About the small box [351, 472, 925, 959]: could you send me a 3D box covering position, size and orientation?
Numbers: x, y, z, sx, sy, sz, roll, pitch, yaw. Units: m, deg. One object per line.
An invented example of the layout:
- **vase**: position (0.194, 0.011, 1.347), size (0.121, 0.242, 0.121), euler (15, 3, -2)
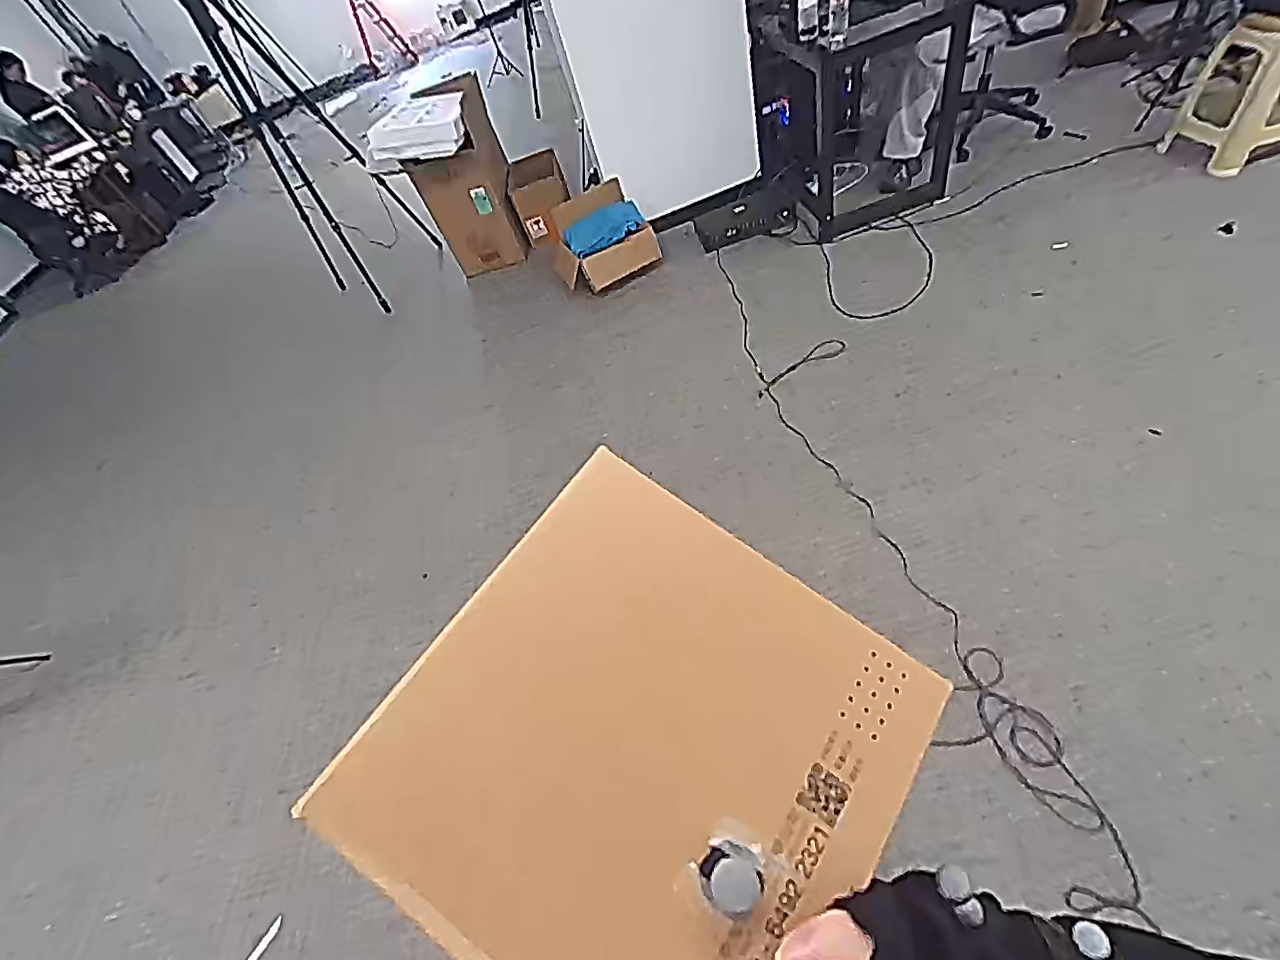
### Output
- **small box**: position (0.003, 0.132, 0.282), size (0.176, 0.179, 0.168), euler (34, 68, 10)
